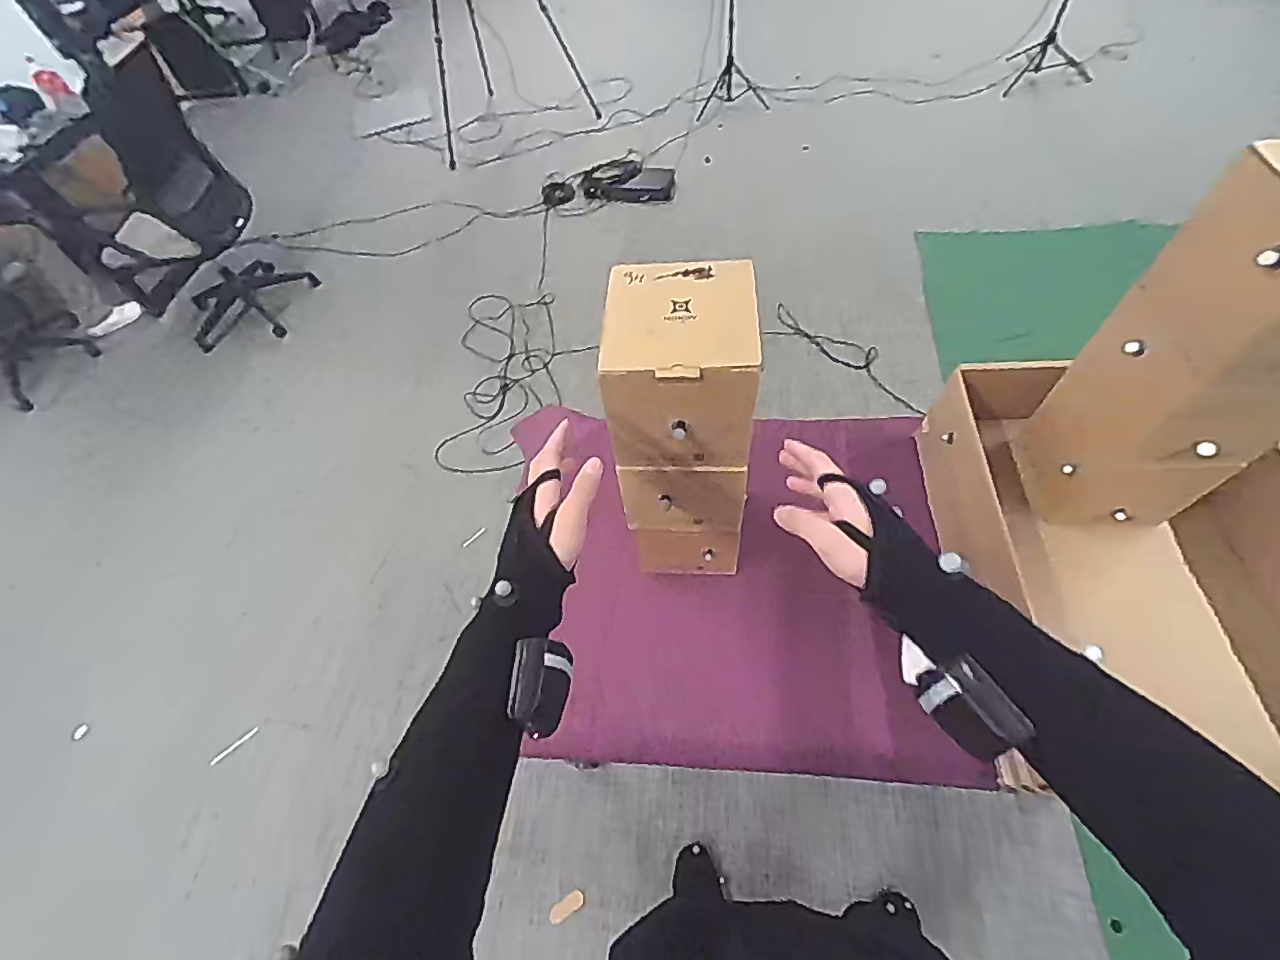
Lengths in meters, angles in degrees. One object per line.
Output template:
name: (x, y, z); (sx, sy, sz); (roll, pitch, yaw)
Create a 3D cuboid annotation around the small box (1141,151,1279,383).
small box: (0.686, -0.212, 0.554); (0.168, 0.176, 0.179); (0, 58, 8)

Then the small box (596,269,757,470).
small box: (0.049, -0.124, 0.649); (0.168, 0.176, 0.179); (0, 57, 6)

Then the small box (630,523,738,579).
small box: (0.081, 0.057, 0.918); (0.168, 0.176, 0.179); (1, 56, 7)

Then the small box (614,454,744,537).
small box: (0.063, -0.029, 0.782); (0.168, 0.176, 0.179); (1, 56, 7)
